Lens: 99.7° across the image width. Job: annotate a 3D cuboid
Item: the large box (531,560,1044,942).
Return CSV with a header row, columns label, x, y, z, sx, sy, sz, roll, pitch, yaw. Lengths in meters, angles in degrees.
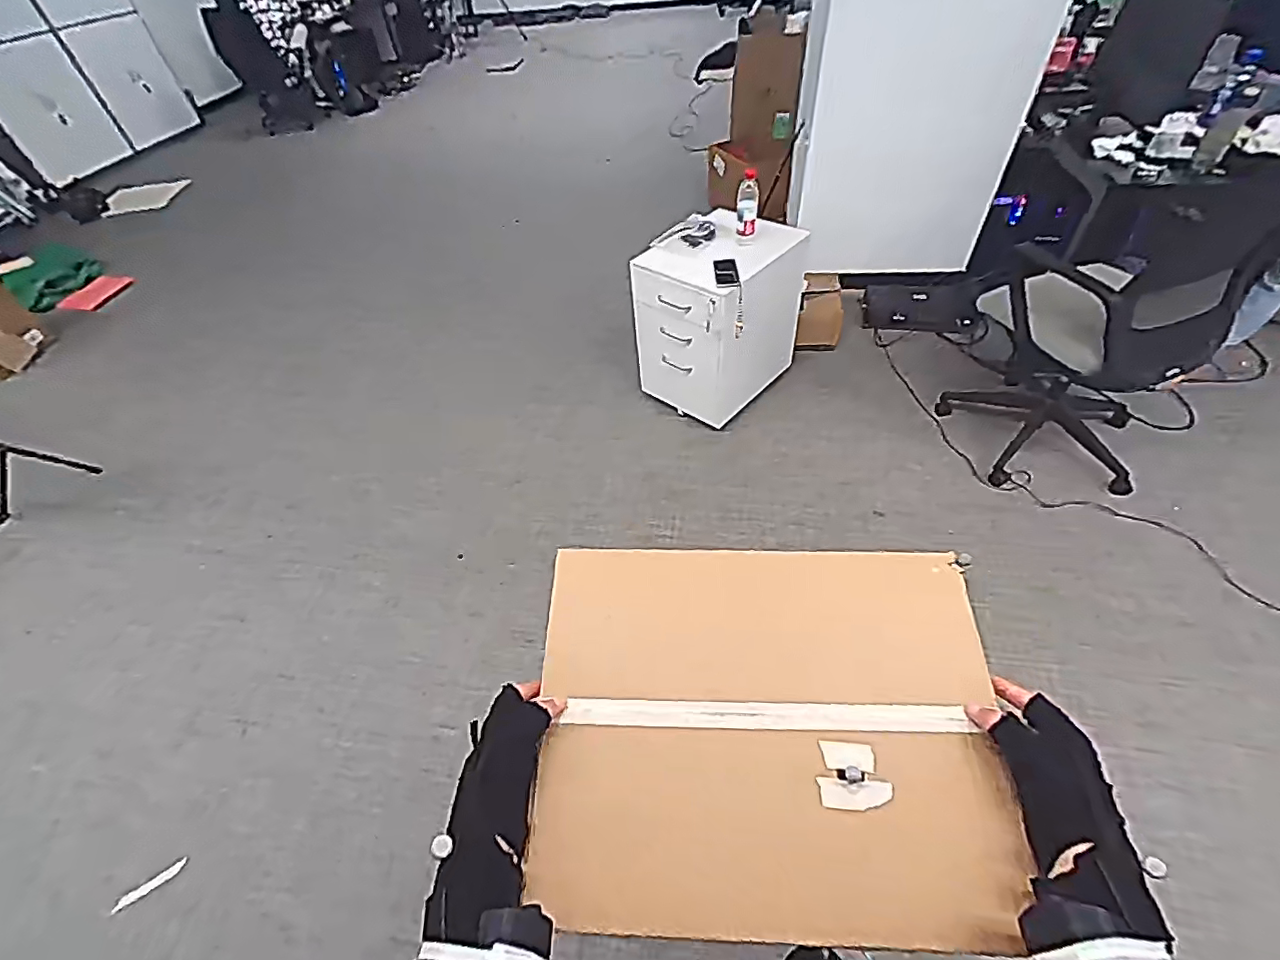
label,x,y,z,sx,sy,sz,roll,pitch,yaw
large box,0.115,0.294,0.617,0.408,0.320,0.320,0,60,2
